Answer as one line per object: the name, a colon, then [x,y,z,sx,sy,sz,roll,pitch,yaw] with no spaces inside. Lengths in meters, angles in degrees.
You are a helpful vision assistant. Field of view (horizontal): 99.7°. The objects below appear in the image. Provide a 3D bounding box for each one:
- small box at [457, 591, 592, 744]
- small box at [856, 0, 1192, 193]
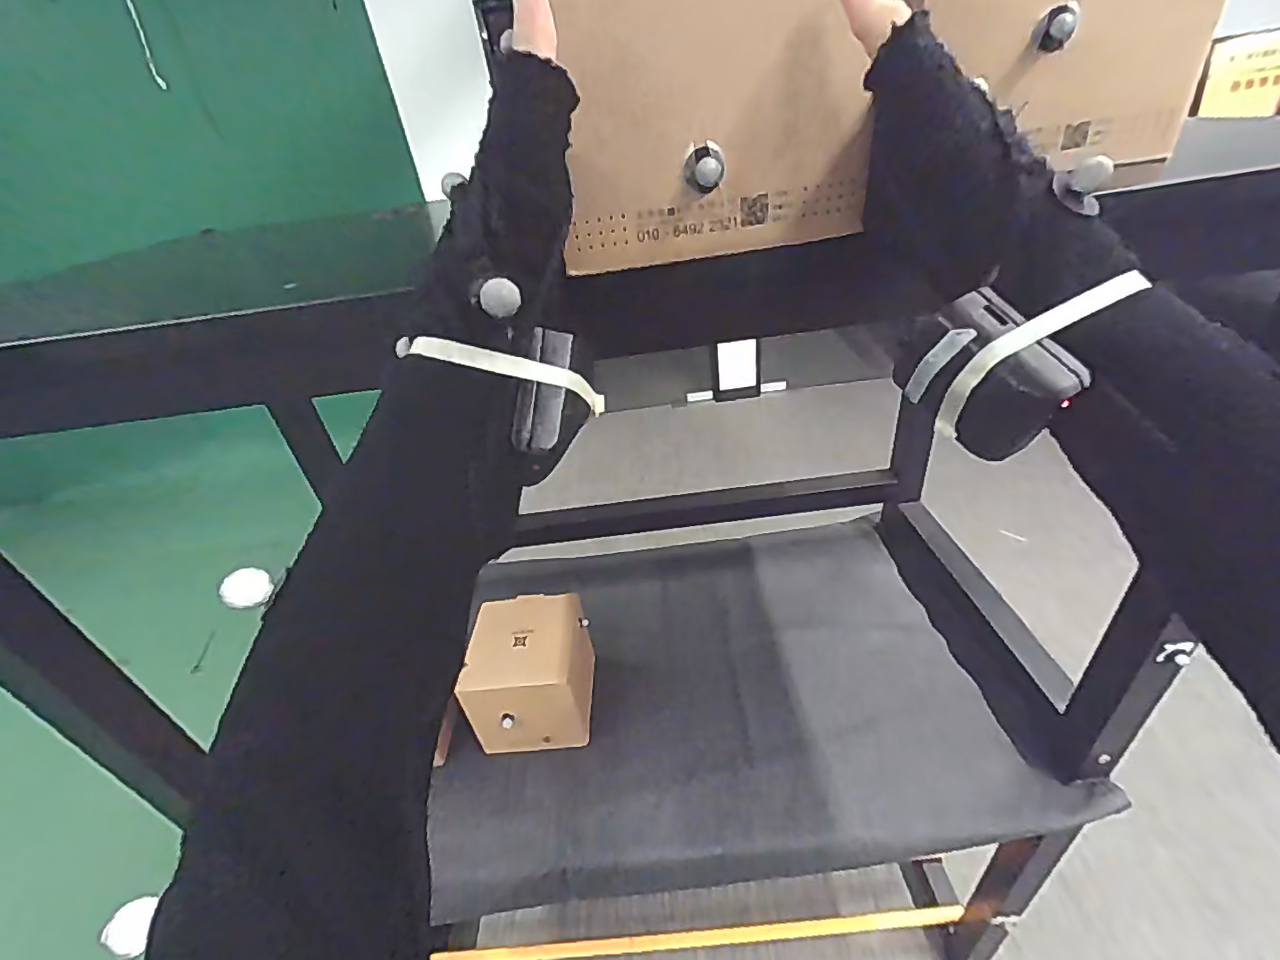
small box: [-0.174,0.310,0.884,0.168,0.176,0.179,-6,33,3]
small box: [0.266,-0.321,0.404,0.168,0.176,0.179,-1,34,12]
